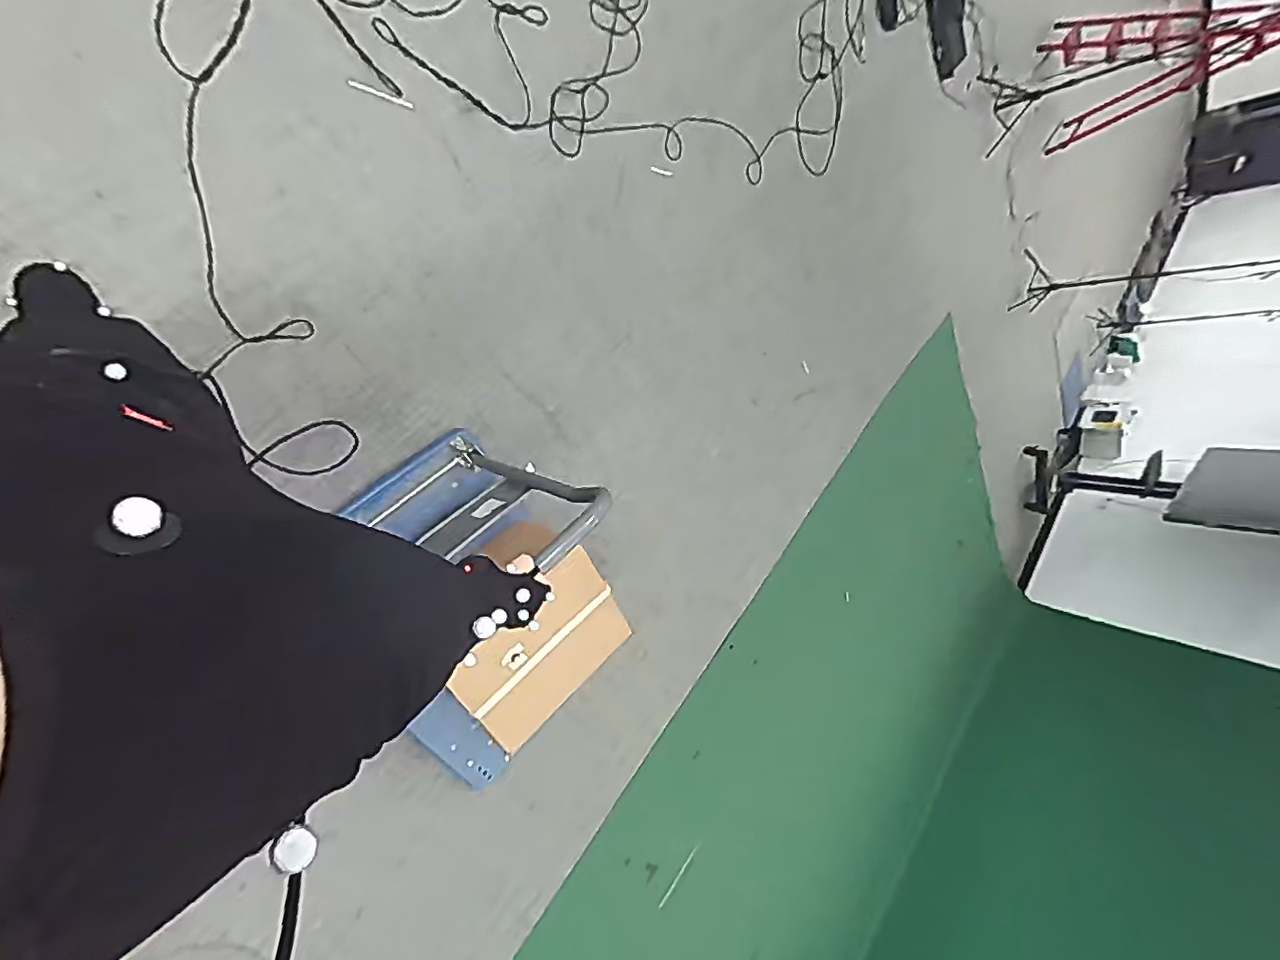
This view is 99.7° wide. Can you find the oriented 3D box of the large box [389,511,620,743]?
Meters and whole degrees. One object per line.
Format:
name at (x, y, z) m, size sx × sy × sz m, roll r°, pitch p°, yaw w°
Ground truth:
large box at (-0.331, 0.338, 1.352) m, size 0.408 × 0.320 × 0.320 m, roll -41°, pitch 120°, yaw -26°
